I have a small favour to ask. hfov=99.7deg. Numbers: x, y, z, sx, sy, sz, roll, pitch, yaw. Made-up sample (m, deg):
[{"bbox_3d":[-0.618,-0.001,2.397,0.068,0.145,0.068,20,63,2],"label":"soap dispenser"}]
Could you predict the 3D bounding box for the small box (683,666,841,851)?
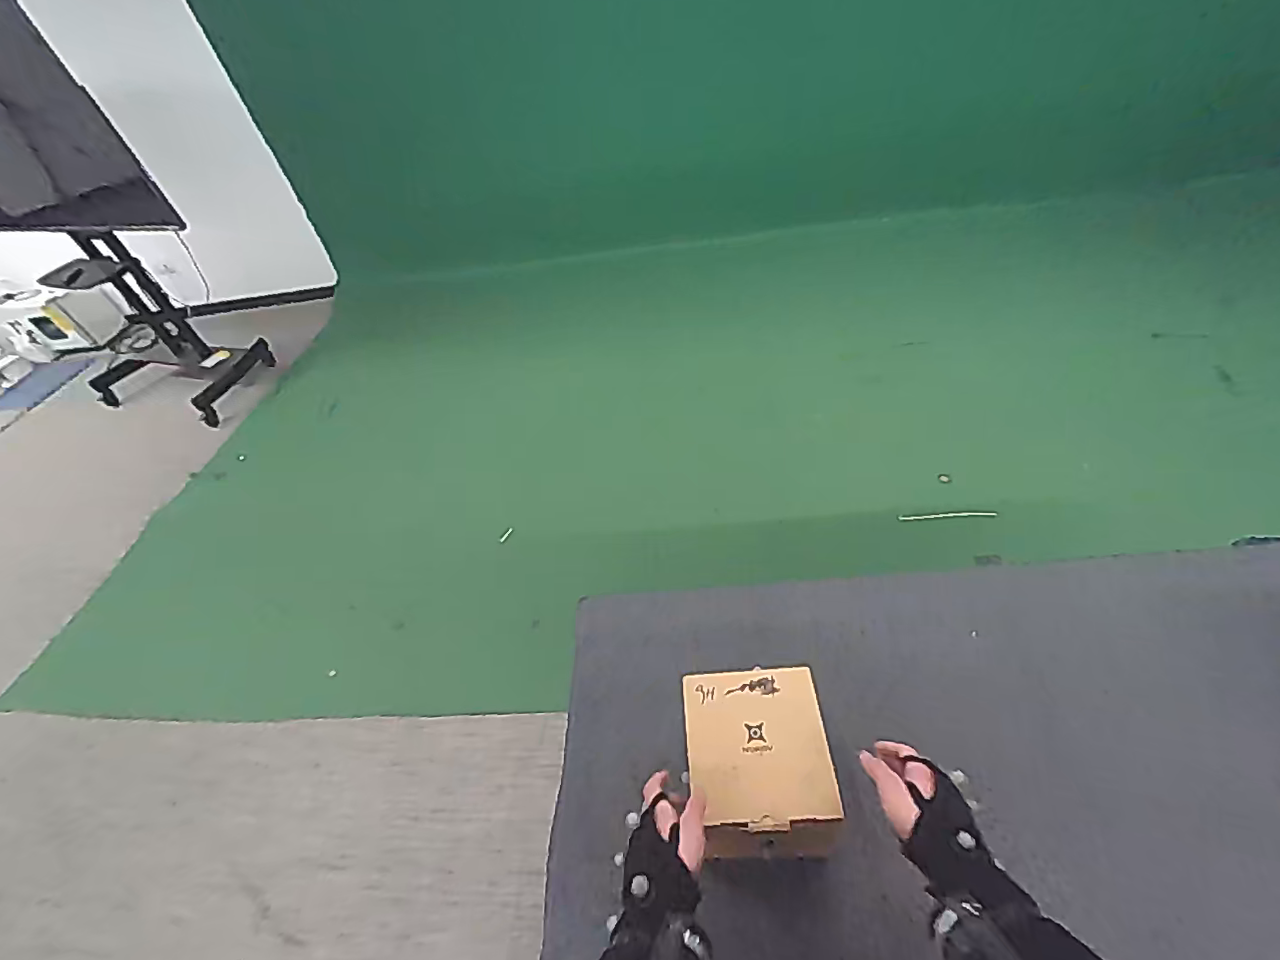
[{"bbox_3d":[0.148,0.363,0.697,0.168,0.176,0.179,-6,45,5],"label":"small box"}]
